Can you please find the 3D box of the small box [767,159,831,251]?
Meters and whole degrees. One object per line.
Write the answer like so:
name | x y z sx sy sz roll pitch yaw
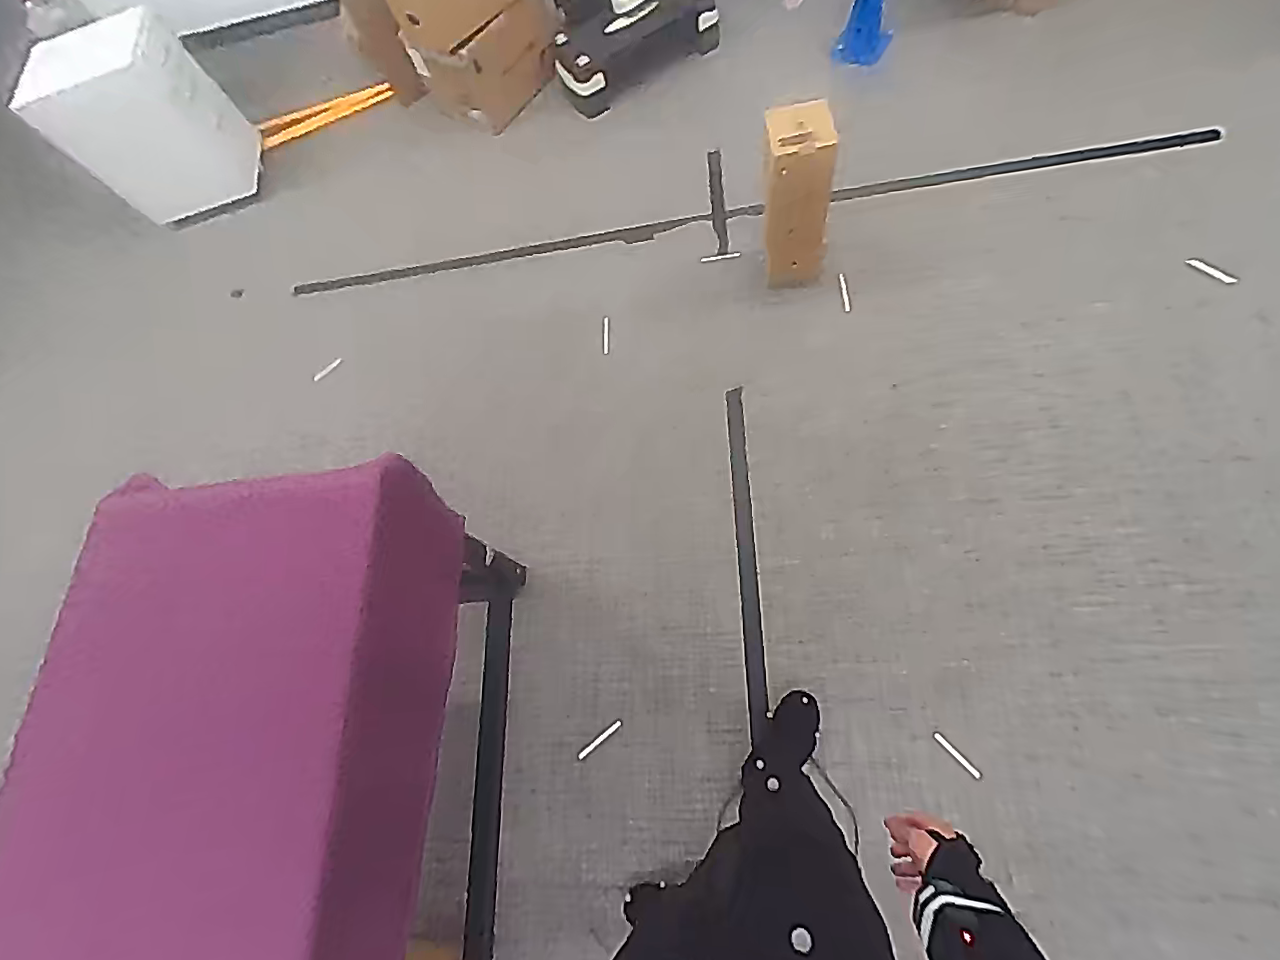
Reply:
small box | 0.471 -0.820 1.622 0.168 0.176 0.179 -1 69 10

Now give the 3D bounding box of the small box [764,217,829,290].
small box | 0.504 -0.750 1.766 0.179 0.176 0.168 -6 68 9
